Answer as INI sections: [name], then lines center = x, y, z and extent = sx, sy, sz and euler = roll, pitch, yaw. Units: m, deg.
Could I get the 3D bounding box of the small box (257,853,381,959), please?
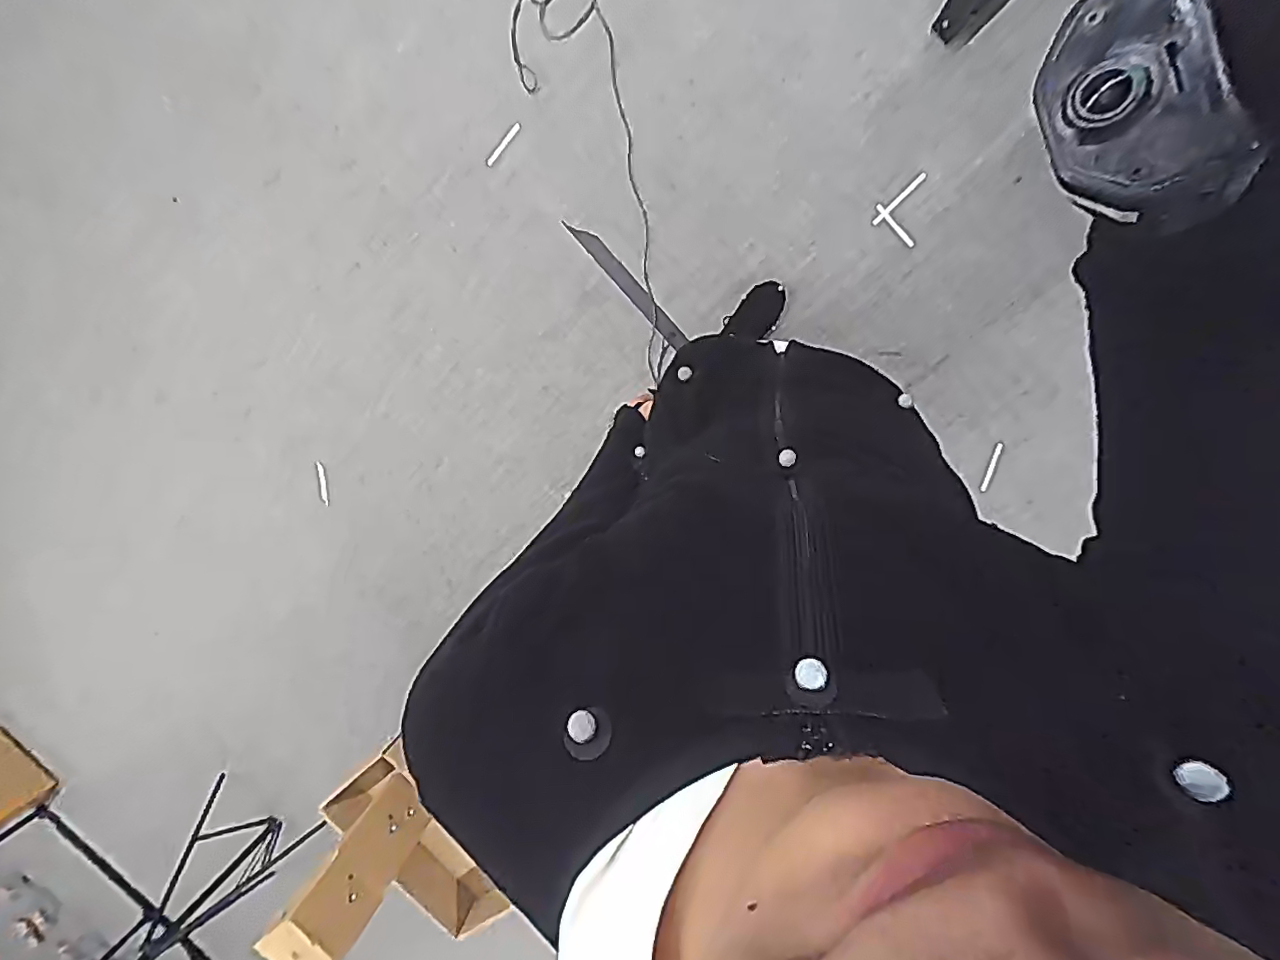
[small box]
center = -0.787, 1.086, 1.344
extent = 0.168, 0.176, 0.179
euler = 45, 109, -4
